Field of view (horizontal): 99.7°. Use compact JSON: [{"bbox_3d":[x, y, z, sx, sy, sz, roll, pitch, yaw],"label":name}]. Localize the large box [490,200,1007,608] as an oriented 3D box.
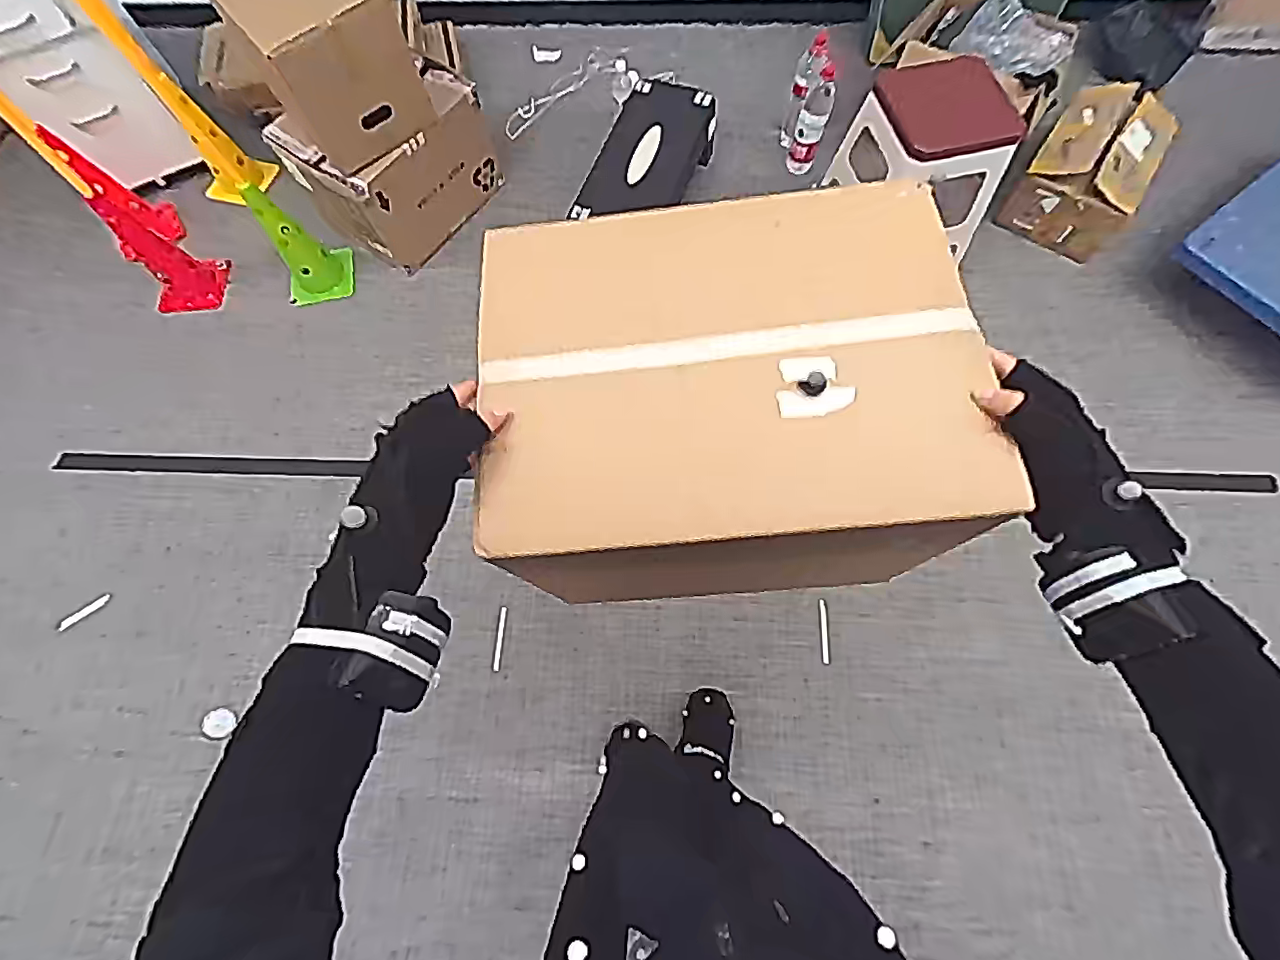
[{"bbox_3d":[0.078,-0.049,0.602,0.408,0.320,0.320,-6,70,3],"label":"large box"}]
